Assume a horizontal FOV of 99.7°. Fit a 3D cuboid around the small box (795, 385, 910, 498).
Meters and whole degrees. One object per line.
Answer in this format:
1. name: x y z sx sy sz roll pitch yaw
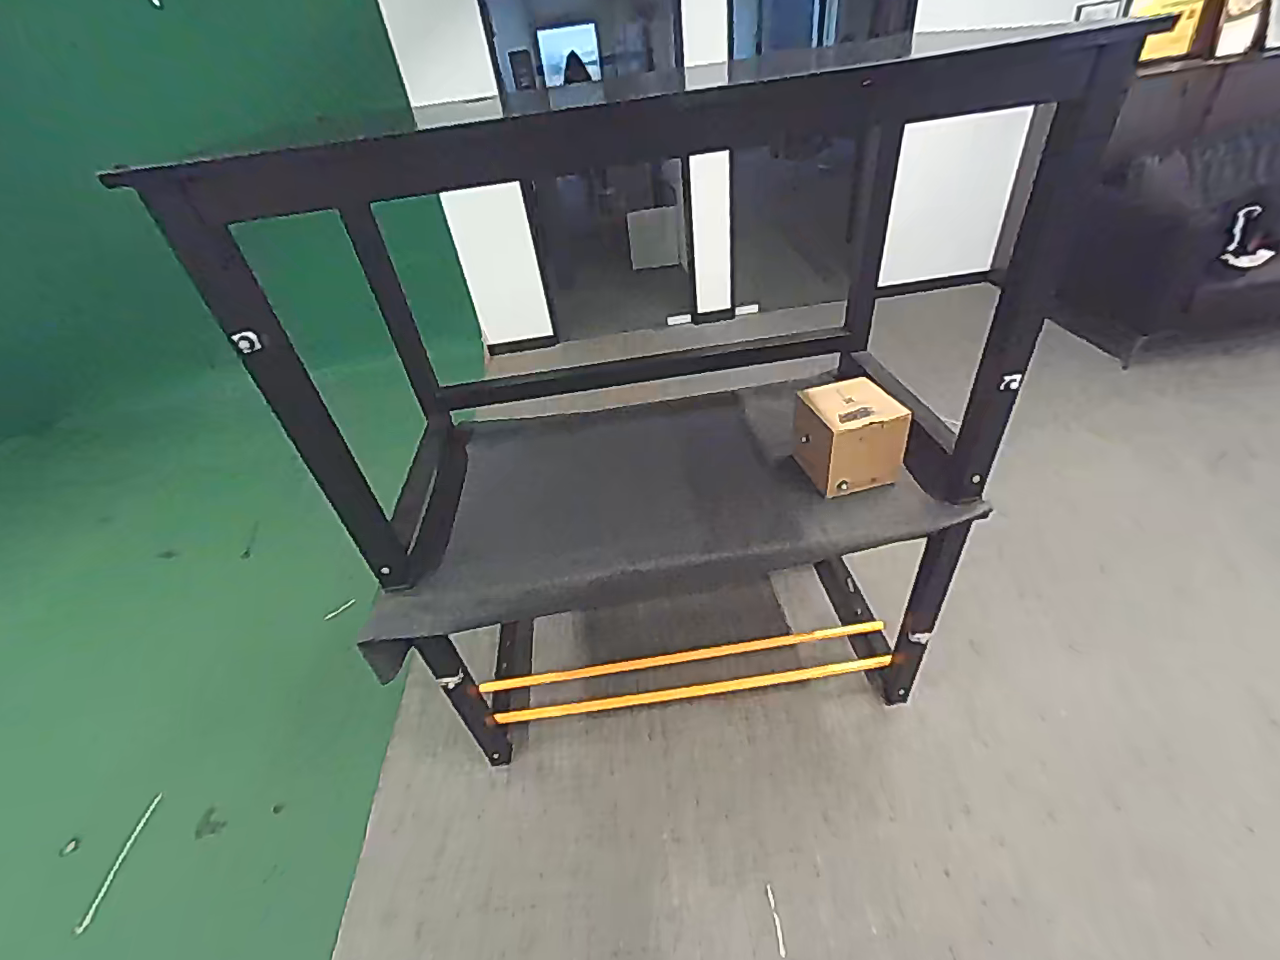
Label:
1. small box: 0.446 -0.078 1.162 0.168 0.176 0.179 -12 36 -5
